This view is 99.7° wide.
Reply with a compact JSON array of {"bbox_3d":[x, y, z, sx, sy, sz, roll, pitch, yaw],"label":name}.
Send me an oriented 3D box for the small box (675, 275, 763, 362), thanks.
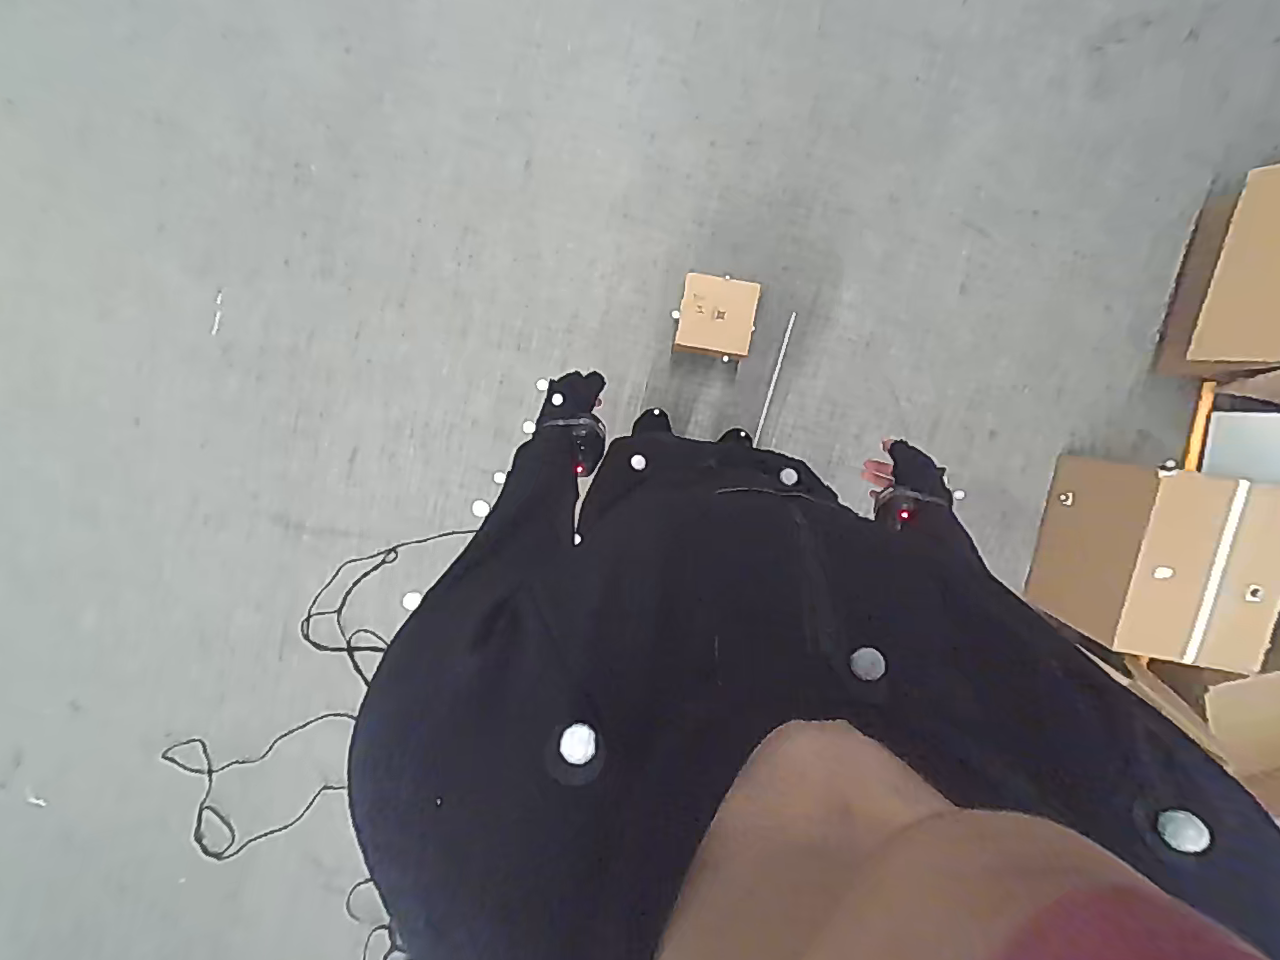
[{"bbox_3d":[0.187,-0.389,1.328,0.179,0.176,0.168,11,98,2],"label":"small box"}]
